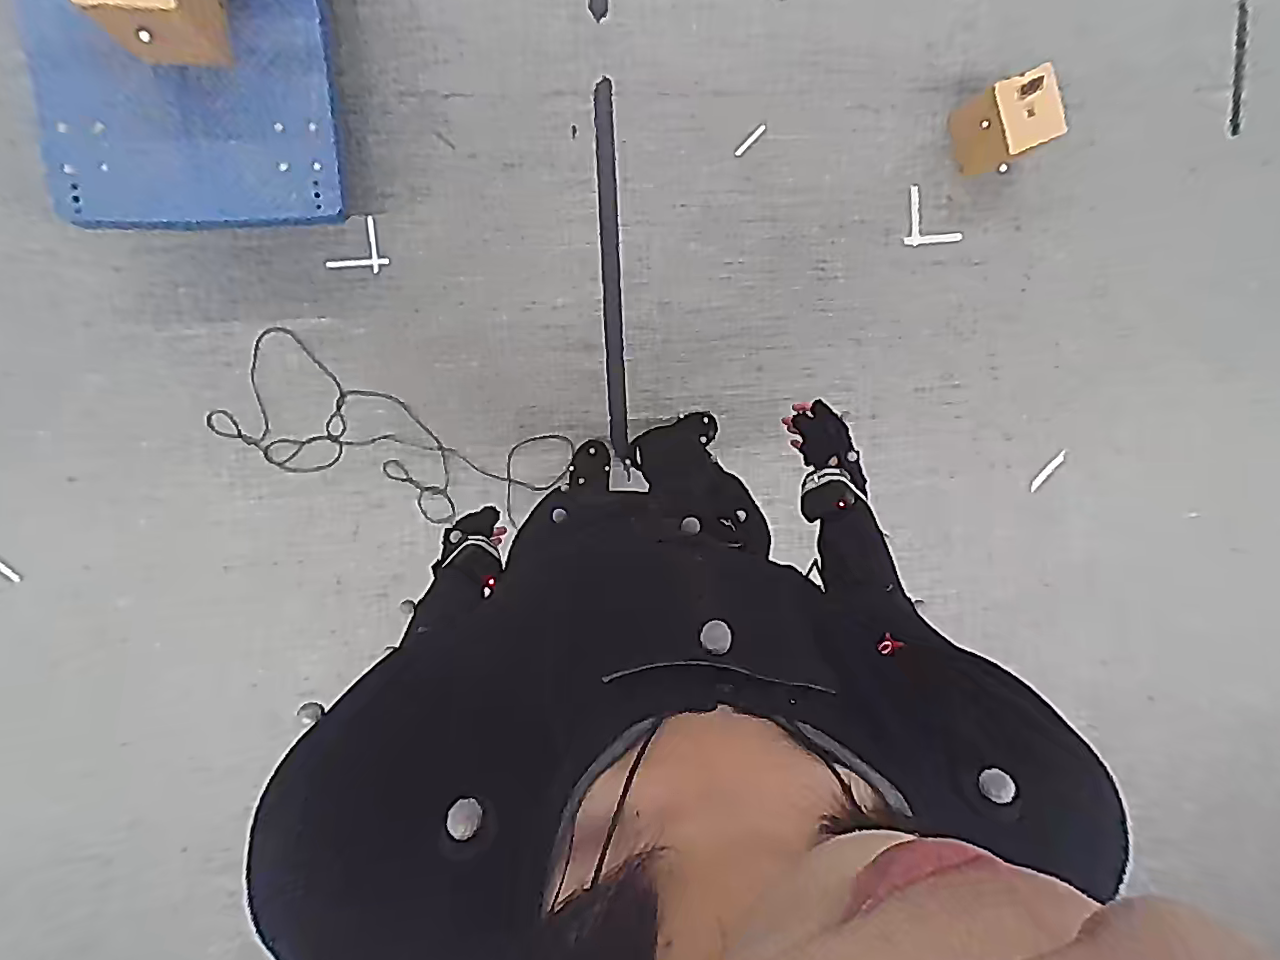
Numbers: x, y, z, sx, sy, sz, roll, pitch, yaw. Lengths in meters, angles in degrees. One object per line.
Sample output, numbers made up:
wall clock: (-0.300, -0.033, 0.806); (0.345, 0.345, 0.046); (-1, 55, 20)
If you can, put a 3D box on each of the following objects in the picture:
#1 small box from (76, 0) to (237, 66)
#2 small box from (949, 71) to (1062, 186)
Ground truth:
small box: (-0.924, -0.935, 1.037); (0.179, 0.176, 0.168); (-2, 98, -5)
small box: (0.962, -0.925, 1.438); (0.168, 0.176, 0.179); (-22, 99, -3)
